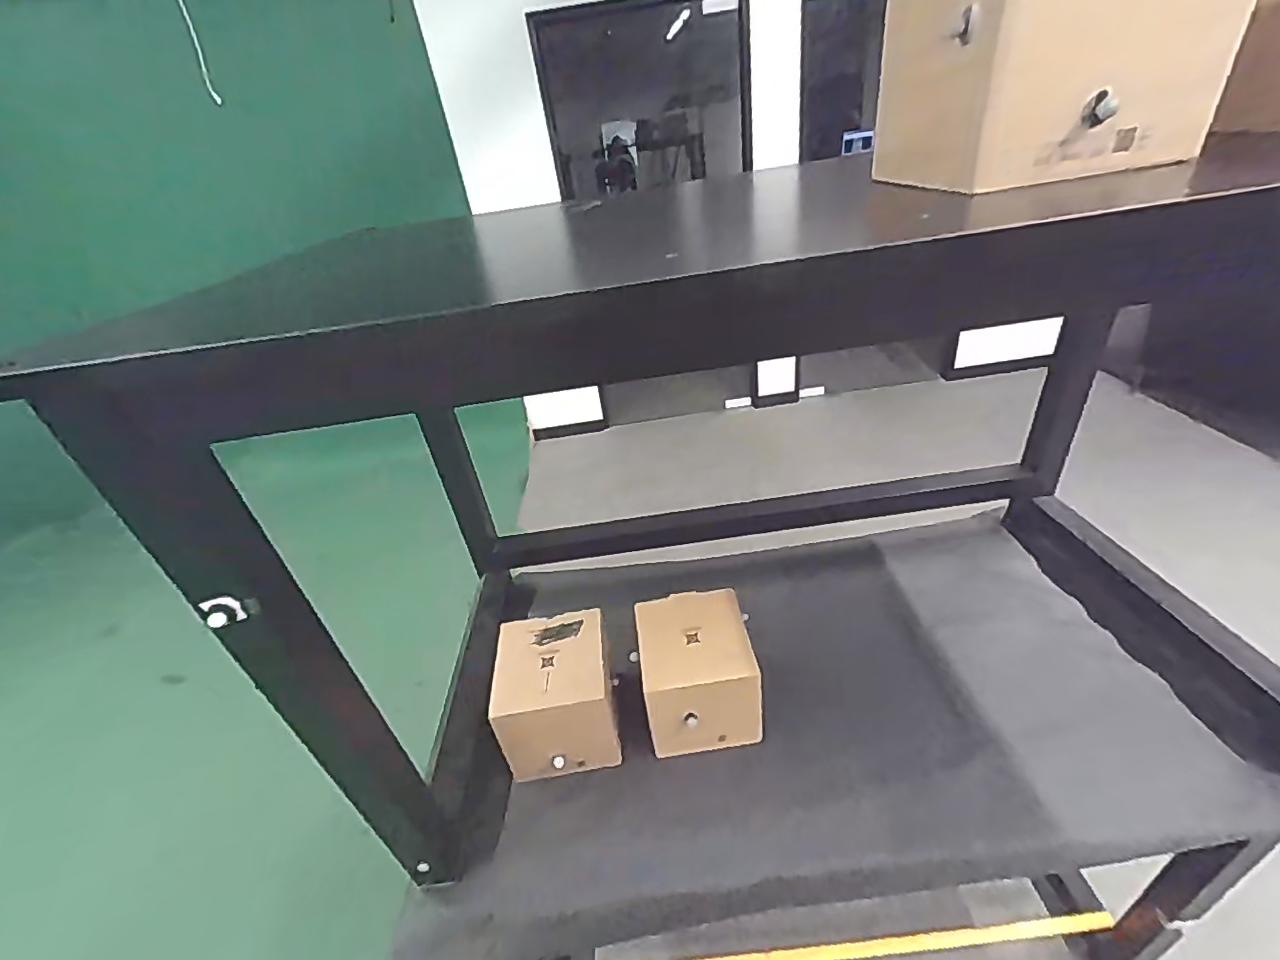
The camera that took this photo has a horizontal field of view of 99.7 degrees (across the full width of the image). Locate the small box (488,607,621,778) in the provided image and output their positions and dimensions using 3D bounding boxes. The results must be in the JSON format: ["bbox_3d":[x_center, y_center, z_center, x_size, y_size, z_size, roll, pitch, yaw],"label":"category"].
[{"bbox_3d":[-0.126,0.333,0.856,0.168,0.176,0.179,-10,32,0],"label":"small box"}]

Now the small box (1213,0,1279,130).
[{"bbox_3d":[0.572,-0.350,0.367,0.168,0.176,0.179,-3,32,11],"label":"small box"}]
